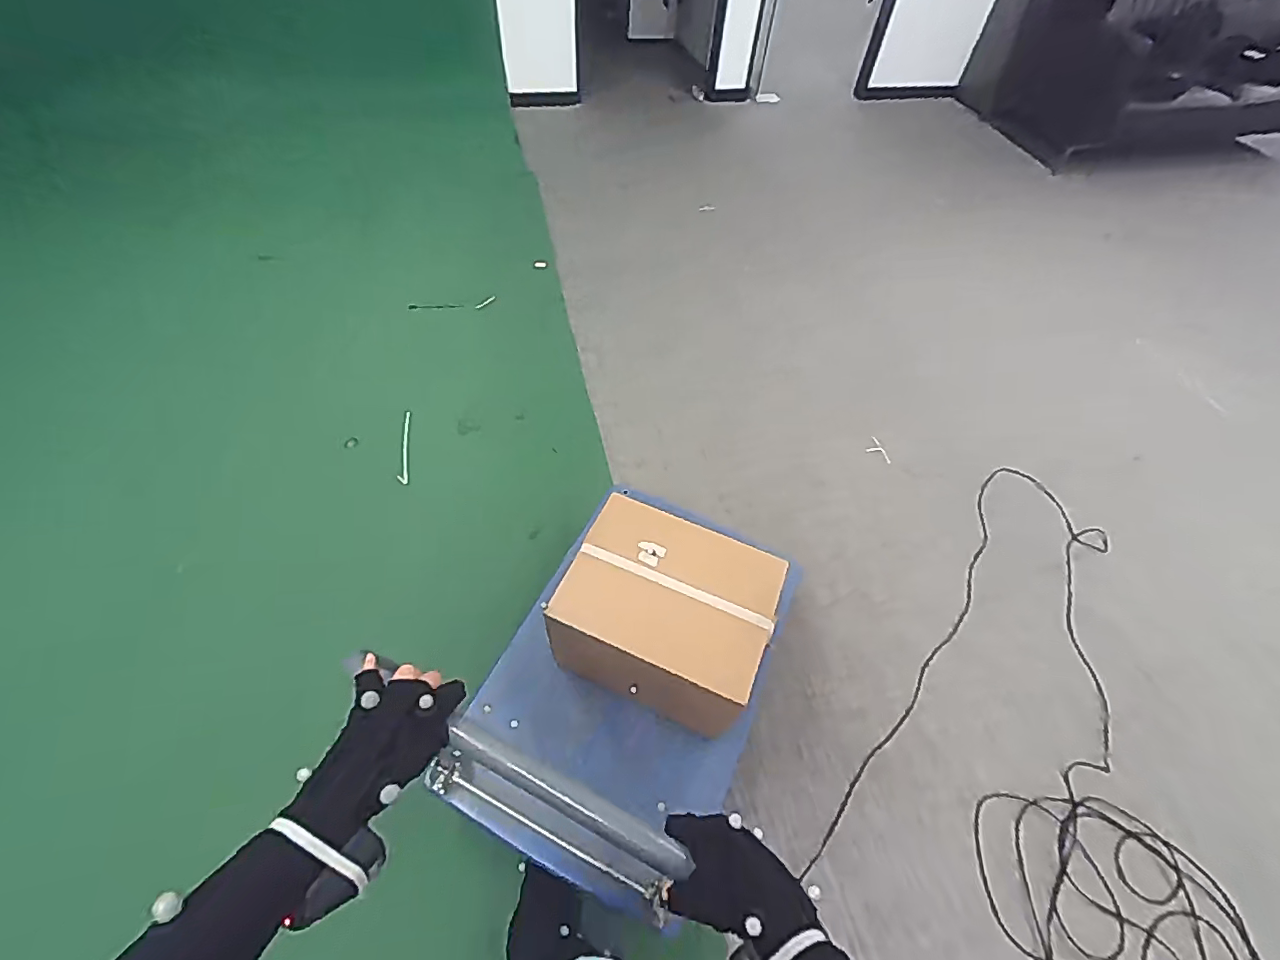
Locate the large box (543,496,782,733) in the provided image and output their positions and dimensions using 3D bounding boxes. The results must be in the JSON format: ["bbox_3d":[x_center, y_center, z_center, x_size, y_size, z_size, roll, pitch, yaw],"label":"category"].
[{"bbox_3d":[0.050,0.298,1.188,0.408,0.320,0.320,21,54,11],"label":"large box"}]
